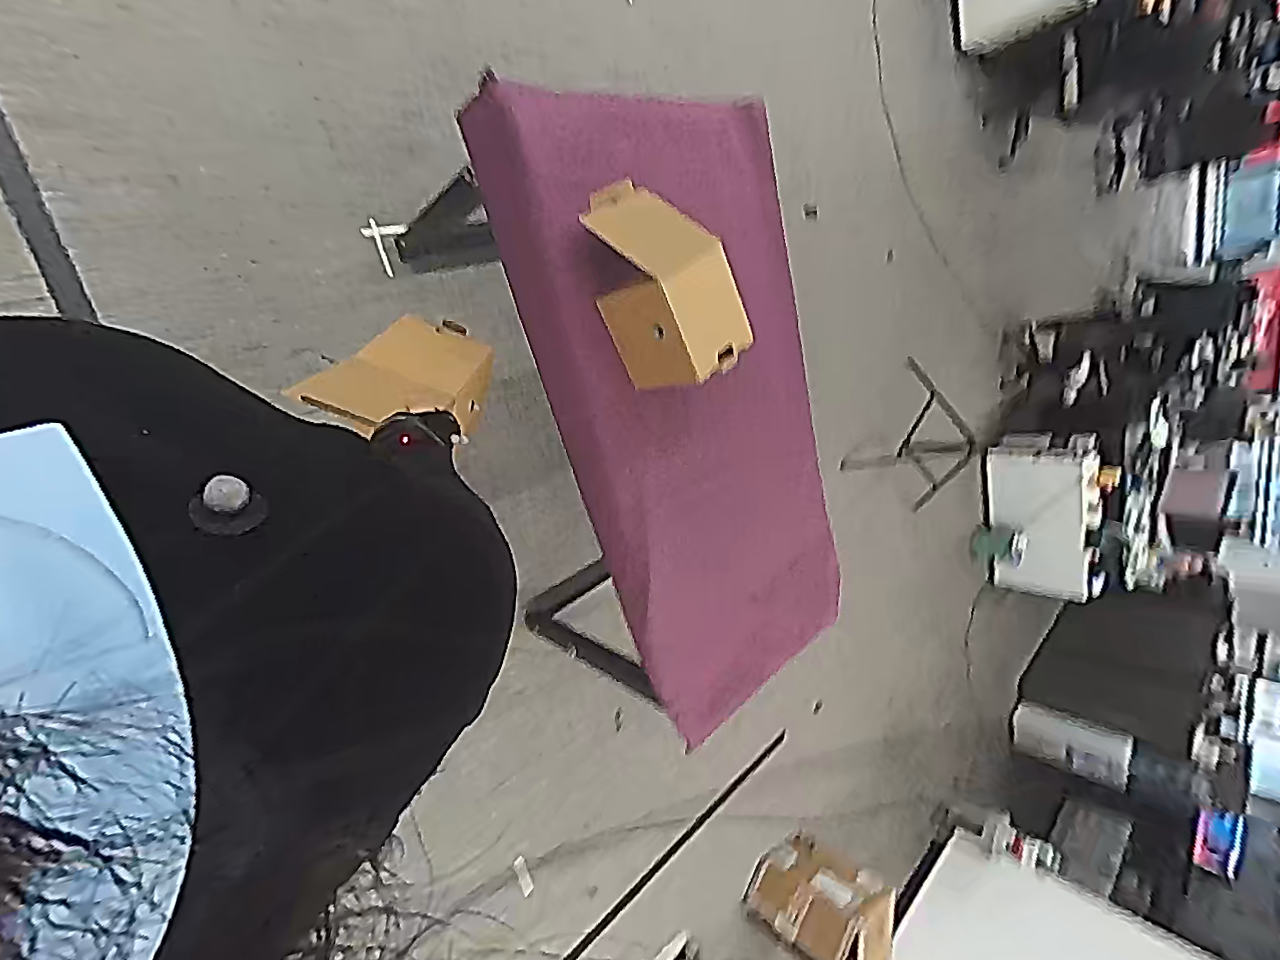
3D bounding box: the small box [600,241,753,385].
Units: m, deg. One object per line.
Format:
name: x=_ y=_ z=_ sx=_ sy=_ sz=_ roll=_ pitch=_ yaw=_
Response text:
small box: x=0.061 y=-0.280 z=0.934 sx=0.168 sy=0.176 sz=0.179 roll=-40 pitch=118 yaw=-30
